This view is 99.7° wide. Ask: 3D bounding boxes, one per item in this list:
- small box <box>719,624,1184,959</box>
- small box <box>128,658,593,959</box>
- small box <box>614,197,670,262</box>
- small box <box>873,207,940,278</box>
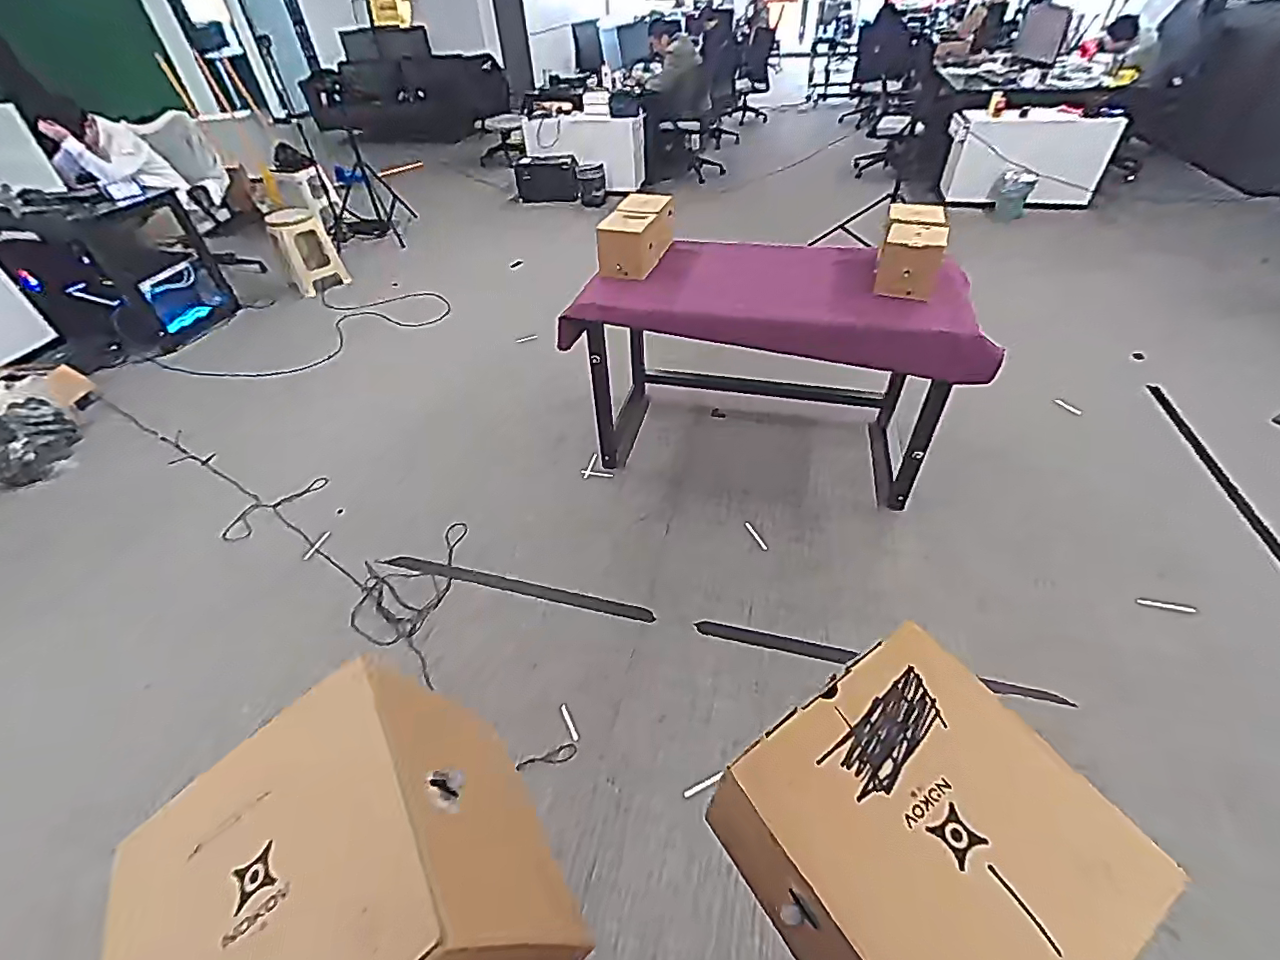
[{"bbox_3d":[0.170,0.238,0.360,0.168,0.176,0.179,-28,55,-21],"label":"small box"},{"bbox_3d":[-0.155,0.252,0.330,0.168,0.176,0.179,-38,46,-11],"label":"small box"},{"bbox_3d":[0.010,-0.941,2.028,0.168,0.176,0.179,11,46,15],"label":"small box"},{"bbox_3d":[0.898,-0.806,1.832,0.168,0.176,0.179,12,44,15],"label":"small box"}]
